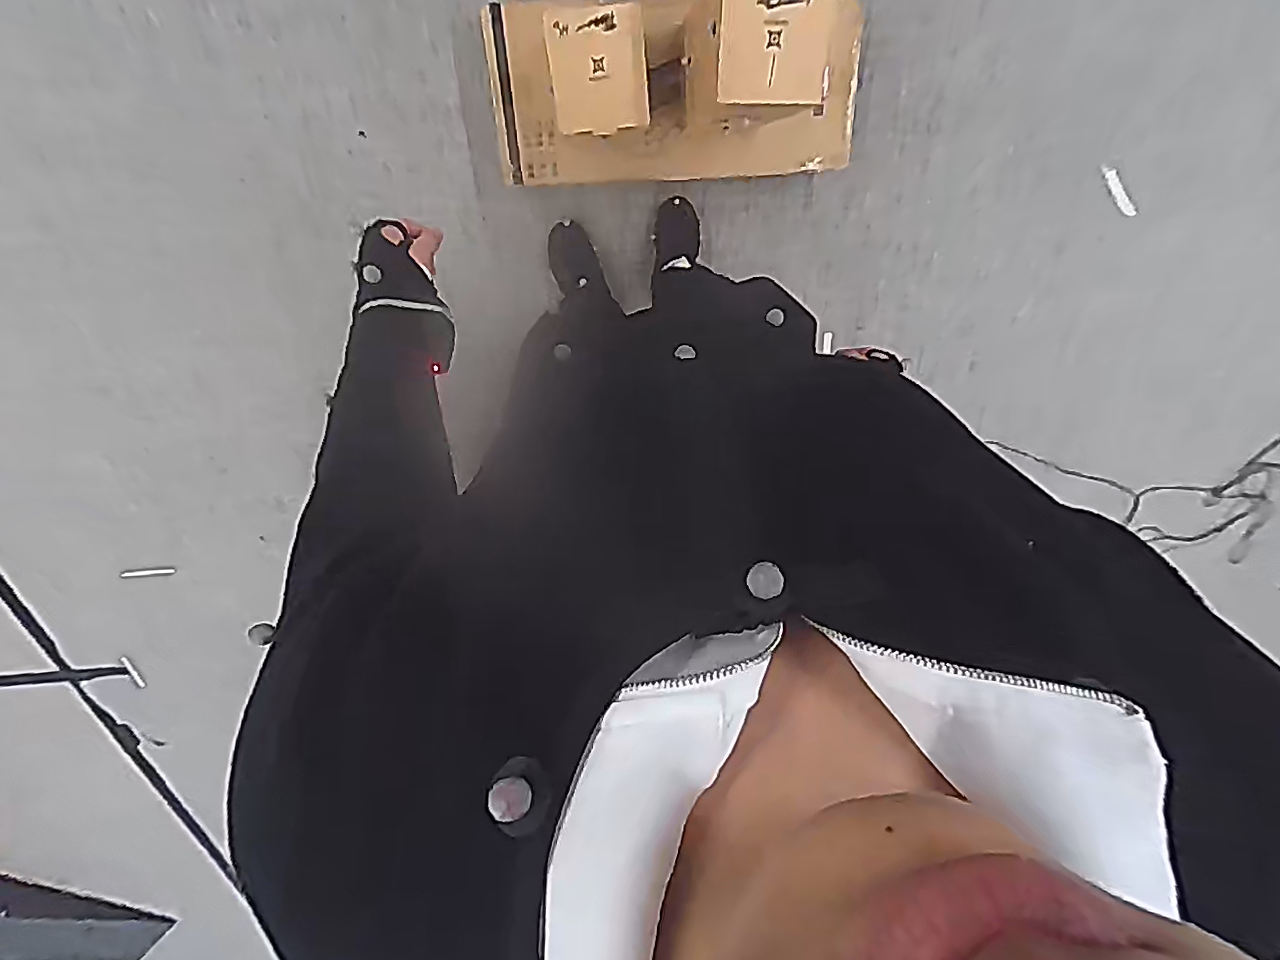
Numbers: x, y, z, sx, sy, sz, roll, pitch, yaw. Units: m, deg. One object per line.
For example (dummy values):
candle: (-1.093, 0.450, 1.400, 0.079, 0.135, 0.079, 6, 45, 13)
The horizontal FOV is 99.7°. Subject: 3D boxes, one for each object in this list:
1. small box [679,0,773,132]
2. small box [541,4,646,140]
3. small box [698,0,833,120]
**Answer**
small box: (0.166, -0.762, 1.002, 0.168, 0.176, 0.179, -5, 118, -2)
small box: (-0.081, -0.734, 0.993, 0.168, 0.176, 0.179, -7, 119, -2)
small box: (0.188, -0.688, 0.857, 0.168, 0.176, 0.179, -2, 118, -4)
